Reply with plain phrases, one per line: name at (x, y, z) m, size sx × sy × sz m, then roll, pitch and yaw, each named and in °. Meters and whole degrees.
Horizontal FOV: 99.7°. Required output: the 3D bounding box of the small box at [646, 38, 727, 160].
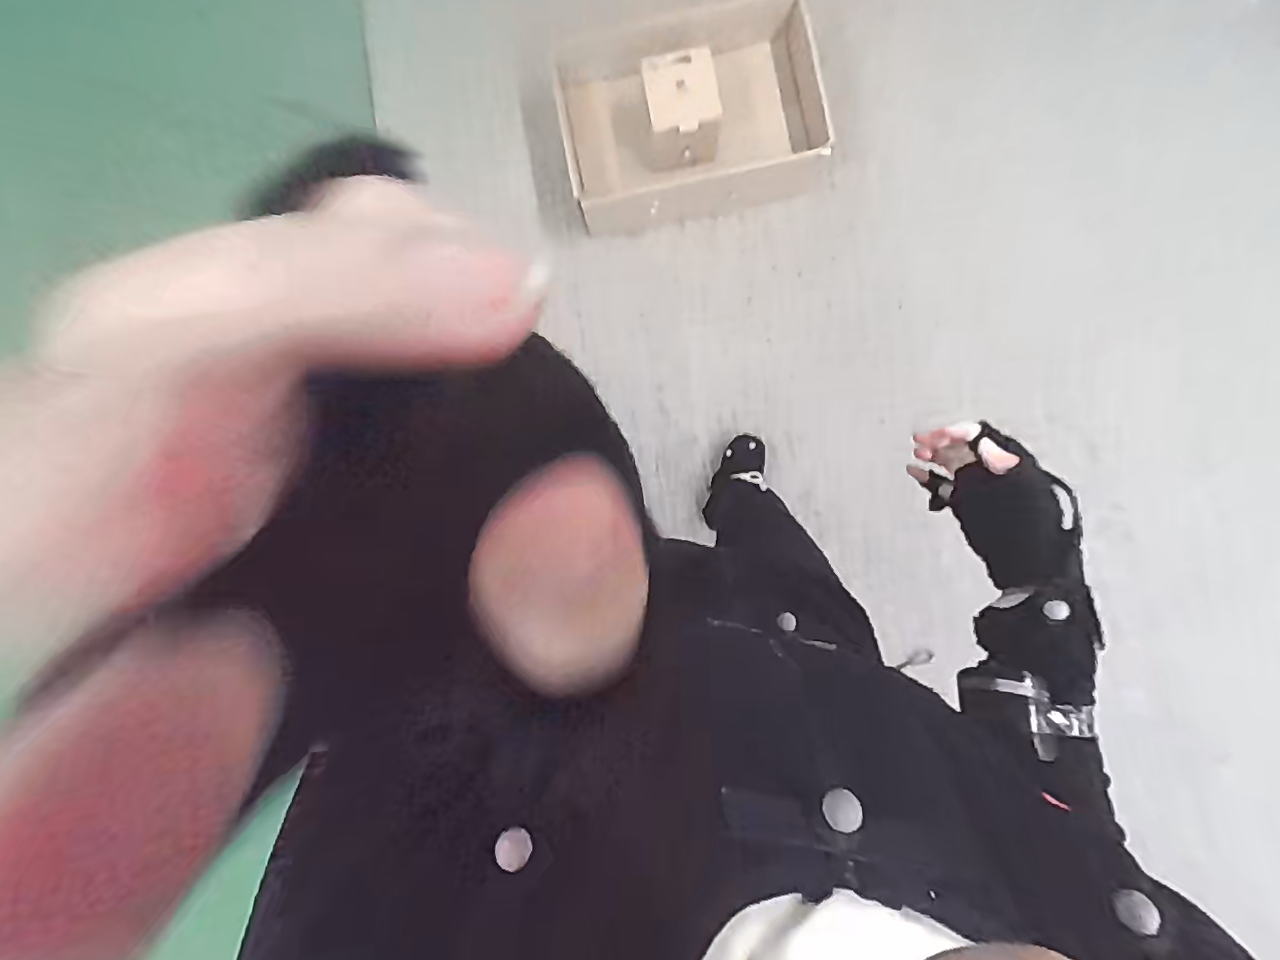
small box at (0.114, -0.912, 1.318) m, size 0.168 × 0.176 × 0.179 m, roll -10°, pitch 89°, yaw 3°
